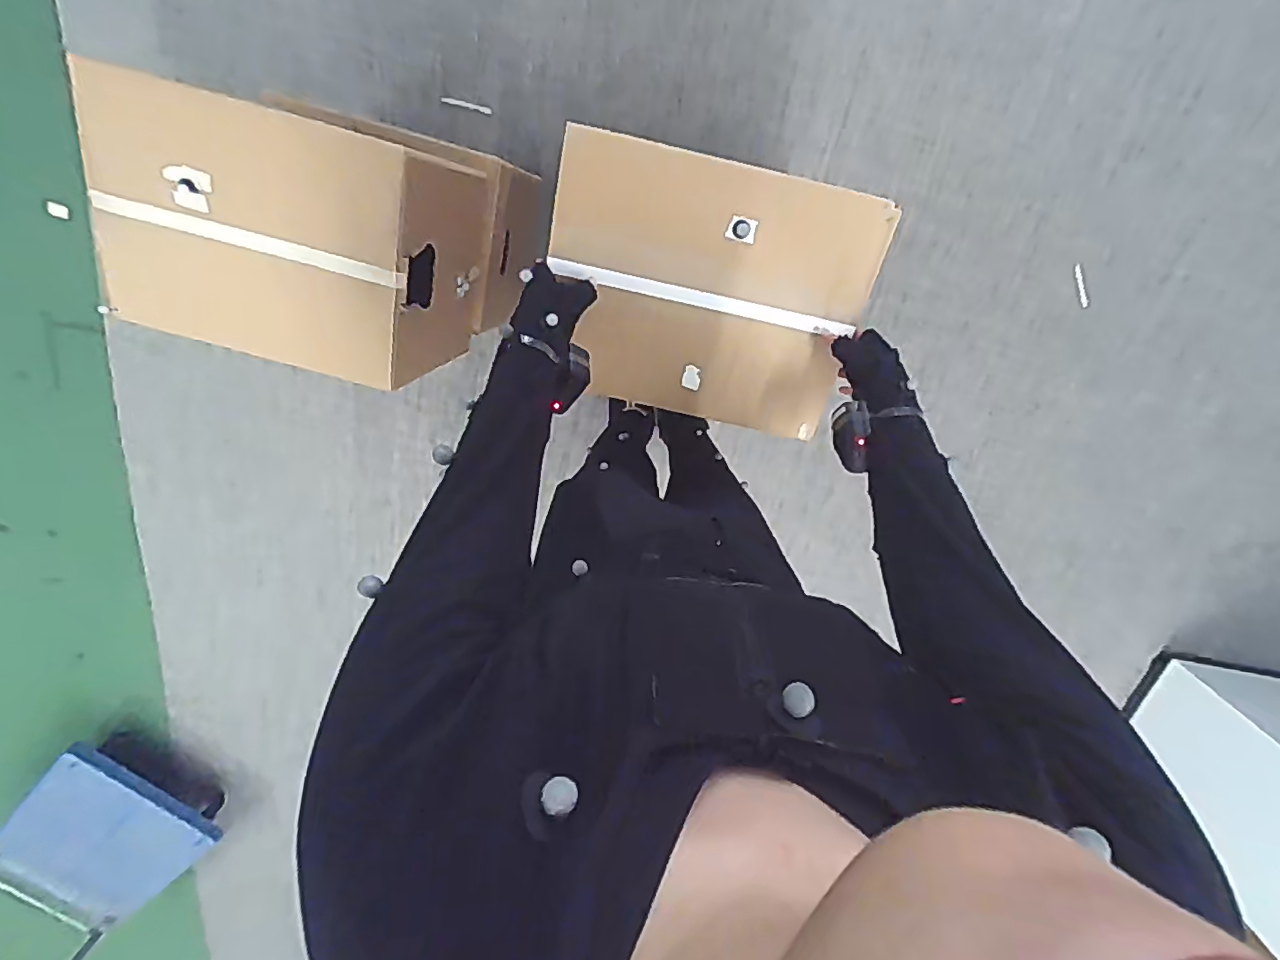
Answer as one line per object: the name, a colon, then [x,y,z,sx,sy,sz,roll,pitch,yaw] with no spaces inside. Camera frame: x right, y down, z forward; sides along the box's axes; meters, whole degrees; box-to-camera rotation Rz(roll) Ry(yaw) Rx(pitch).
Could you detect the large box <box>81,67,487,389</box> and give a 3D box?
large box: [-0.493,-0.371,0.841,0.408,0.320,0.320,15,114,-1]
